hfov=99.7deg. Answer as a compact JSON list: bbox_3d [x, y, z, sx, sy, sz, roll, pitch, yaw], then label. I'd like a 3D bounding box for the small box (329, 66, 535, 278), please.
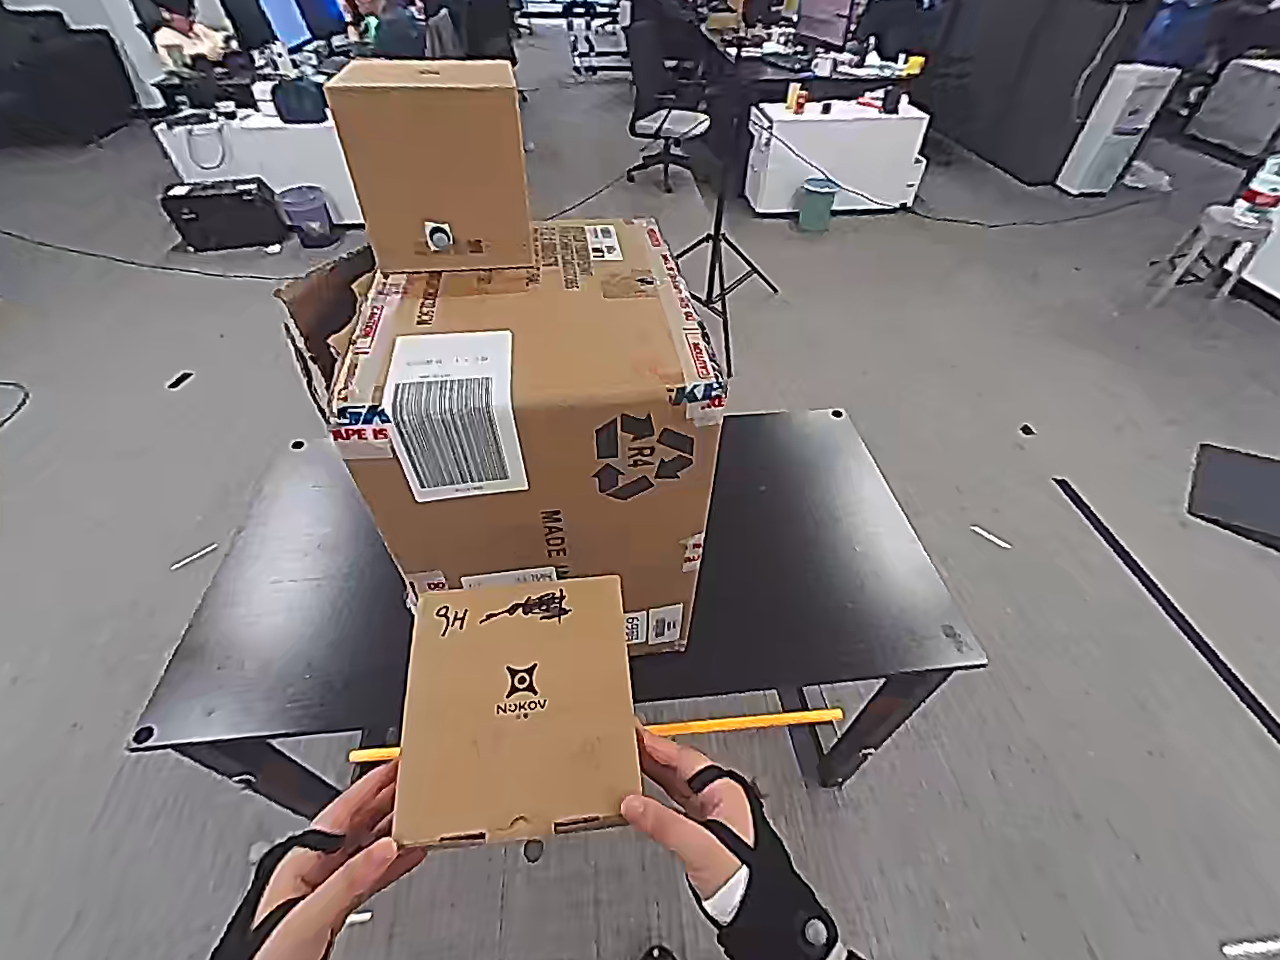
[{"bbox_3d":[-0.211,-0.340,0.597,0.168,0.176,0.179,-8,45,-9],"label":"small box"}]
